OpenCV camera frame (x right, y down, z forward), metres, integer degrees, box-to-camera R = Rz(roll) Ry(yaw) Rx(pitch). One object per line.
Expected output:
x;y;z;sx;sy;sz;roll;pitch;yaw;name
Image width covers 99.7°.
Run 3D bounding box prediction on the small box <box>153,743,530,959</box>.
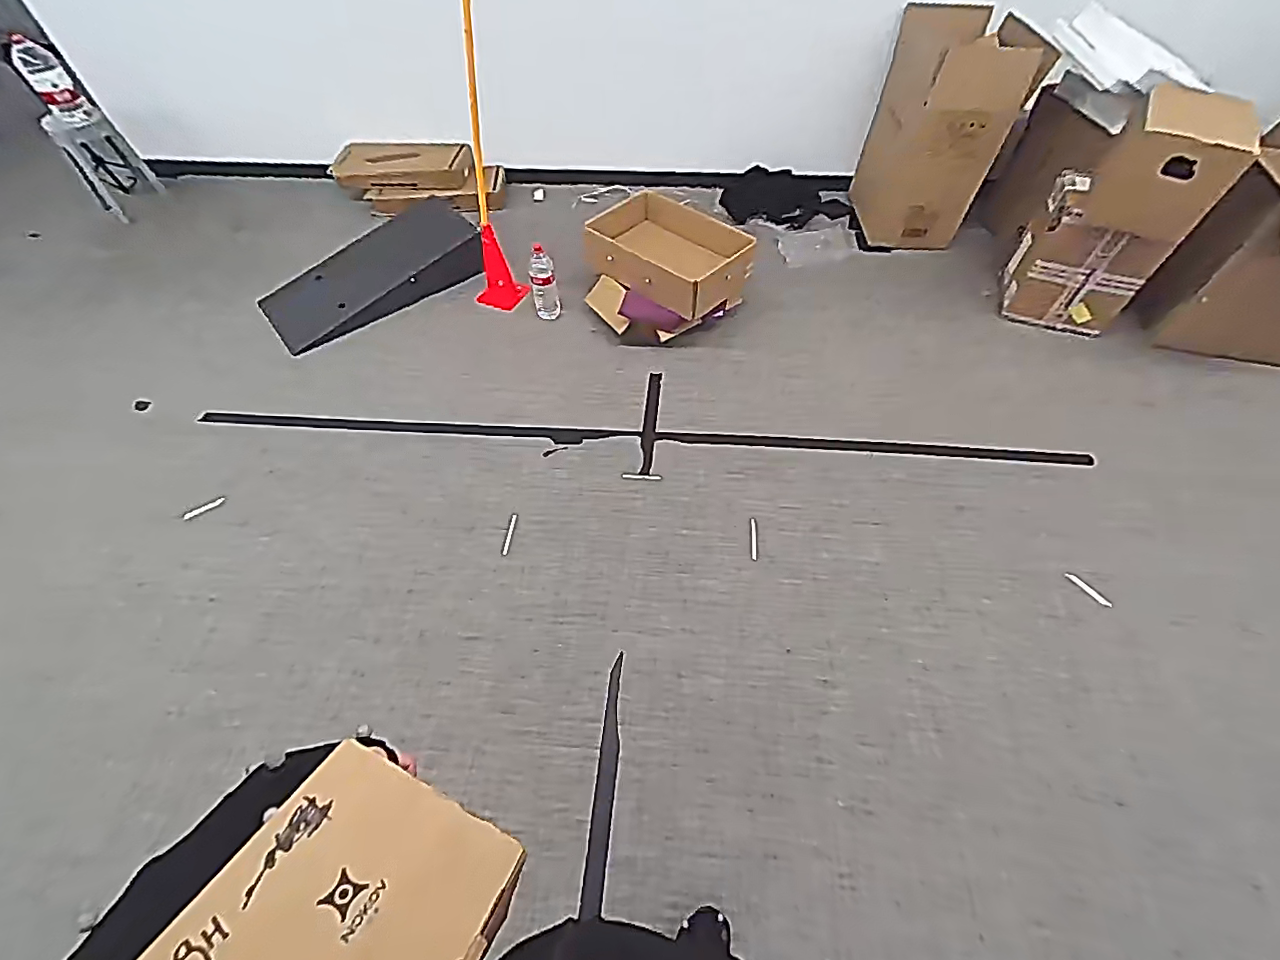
-0.211;0.352;0.418;0.179;0.176;0.168;25;36;9;small box
